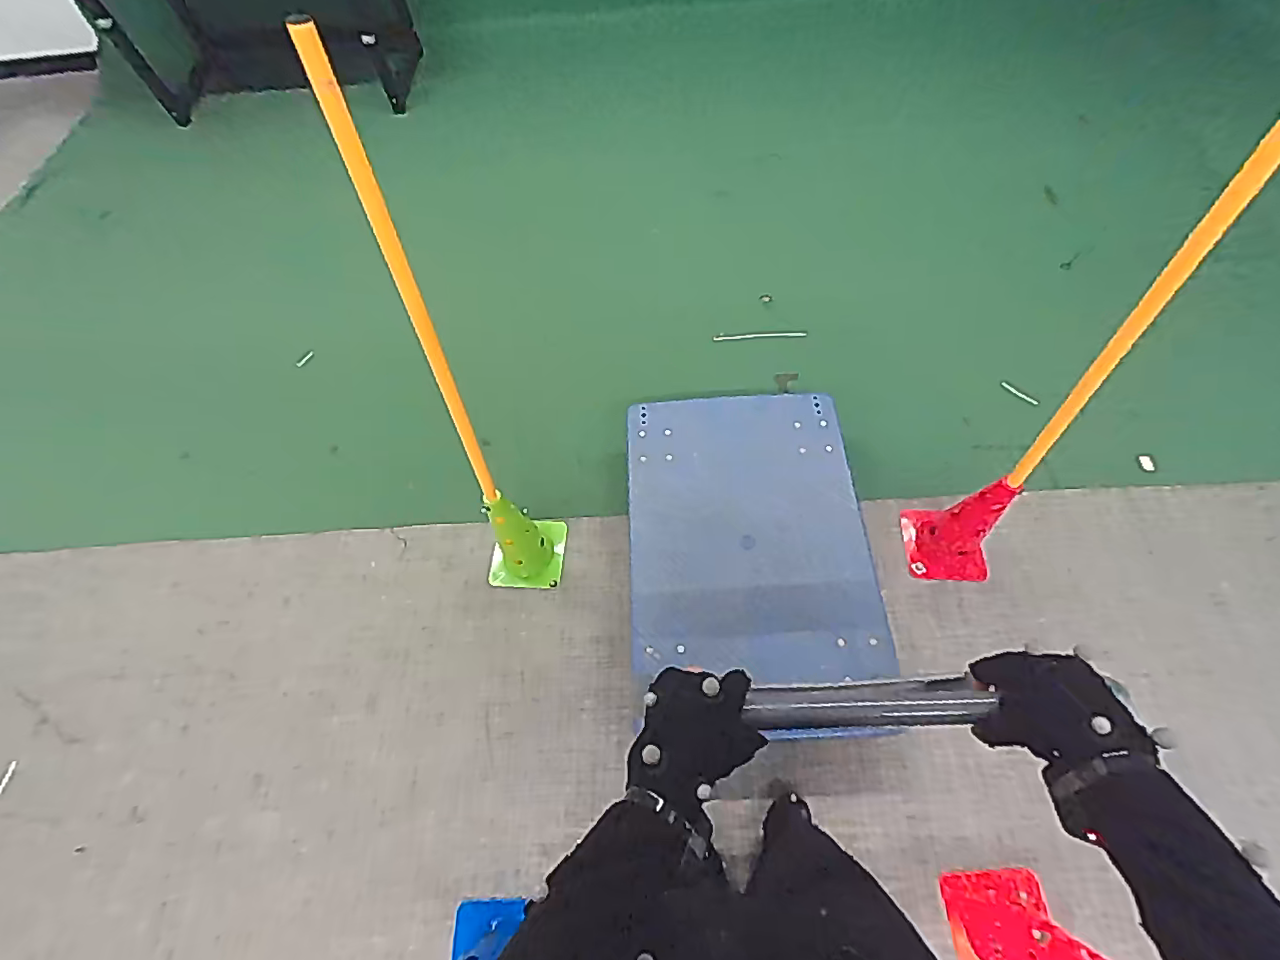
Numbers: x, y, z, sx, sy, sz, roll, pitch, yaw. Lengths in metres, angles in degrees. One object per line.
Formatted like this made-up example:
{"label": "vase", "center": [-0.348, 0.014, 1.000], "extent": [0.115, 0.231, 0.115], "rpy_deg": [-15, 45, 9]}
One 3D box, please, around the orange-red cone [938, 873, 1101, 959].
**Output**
{"label": "orange-red cone", "center": [0.703, 0.821, 0.931], "extent": [0.199, 0.360, 0.198], "rpy_deg": [-4, 60, 4]}

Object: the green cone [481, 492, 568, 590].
{"label": "green cone", "center": [-0.324, 0.128, 1.386], "extent": [0.202, 0.368, 0.200], "rpy_deg": [1, 60, 5]}
